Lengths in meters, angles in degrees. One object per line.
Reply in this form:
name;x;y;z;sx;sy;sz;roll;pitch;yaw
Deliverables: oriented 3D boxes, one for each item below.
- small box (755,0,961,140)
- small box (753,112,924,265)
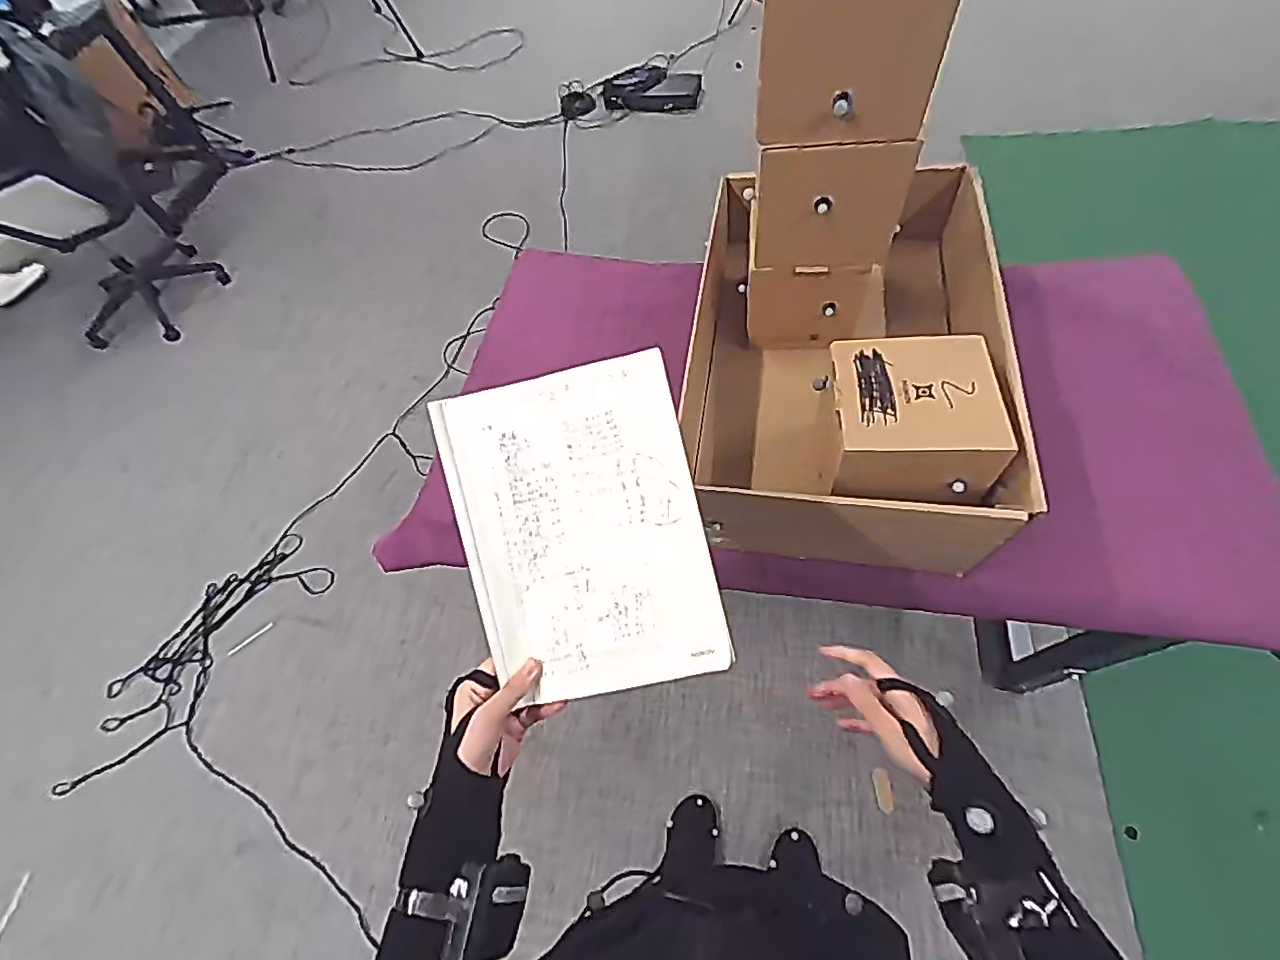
small box;0.220;-0.484;0.565;0.179;0.176;0.168;5;62;10
small box;0.244;-0.403;0.705;0.179;0.176;0.168;2;62;10
